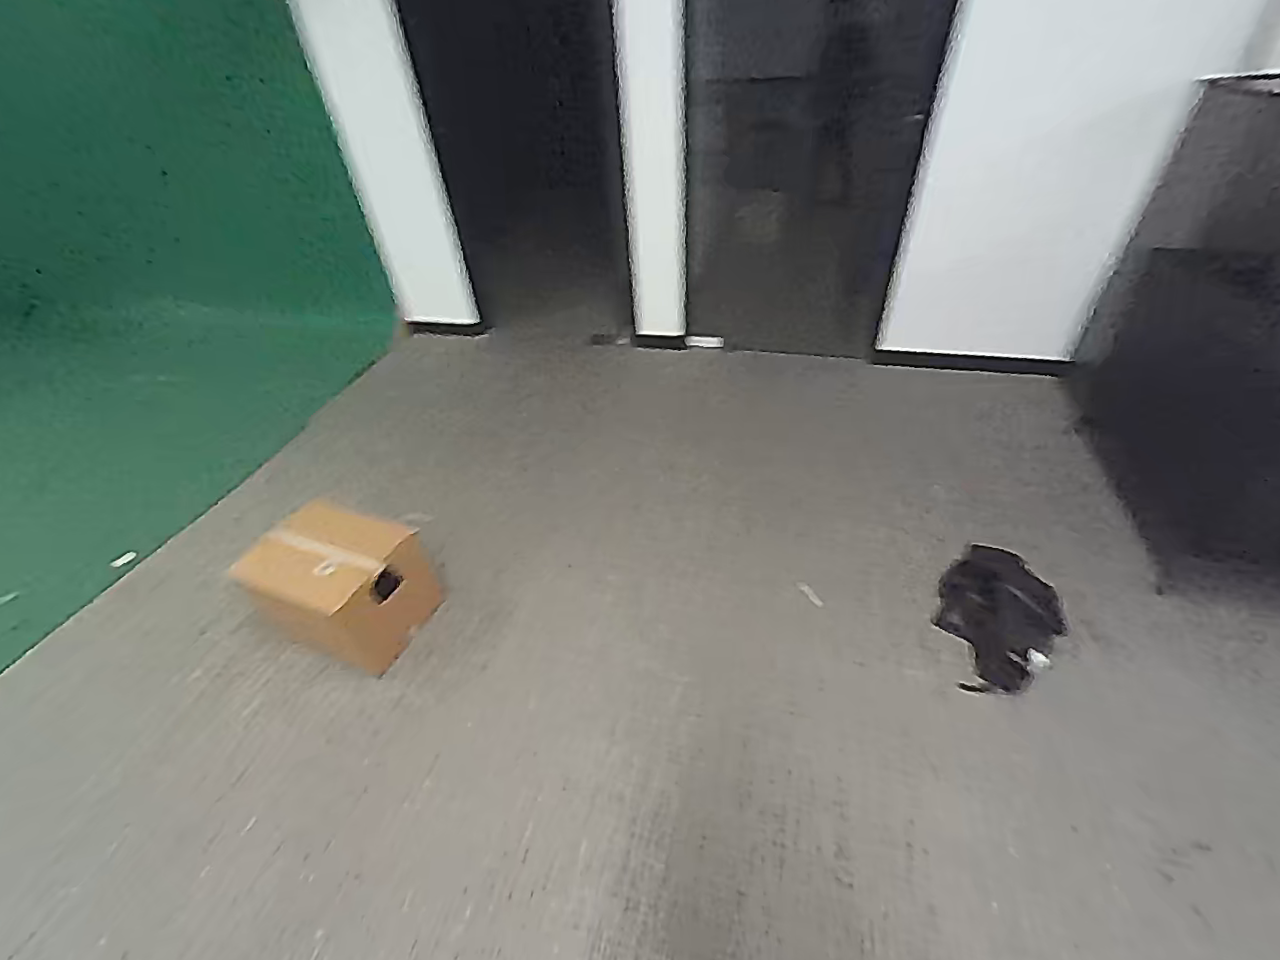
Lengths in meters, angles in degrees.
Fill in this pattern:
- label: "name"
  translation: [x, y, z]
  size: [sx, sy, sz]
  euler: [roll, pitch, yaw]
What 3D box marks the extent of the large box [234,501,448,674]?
- label: "large box"
  translation: [-0.857, 0.309, 1.601]
  size: [0.408, 0.320, 0.320]
  euler: [14, 44, 18]
